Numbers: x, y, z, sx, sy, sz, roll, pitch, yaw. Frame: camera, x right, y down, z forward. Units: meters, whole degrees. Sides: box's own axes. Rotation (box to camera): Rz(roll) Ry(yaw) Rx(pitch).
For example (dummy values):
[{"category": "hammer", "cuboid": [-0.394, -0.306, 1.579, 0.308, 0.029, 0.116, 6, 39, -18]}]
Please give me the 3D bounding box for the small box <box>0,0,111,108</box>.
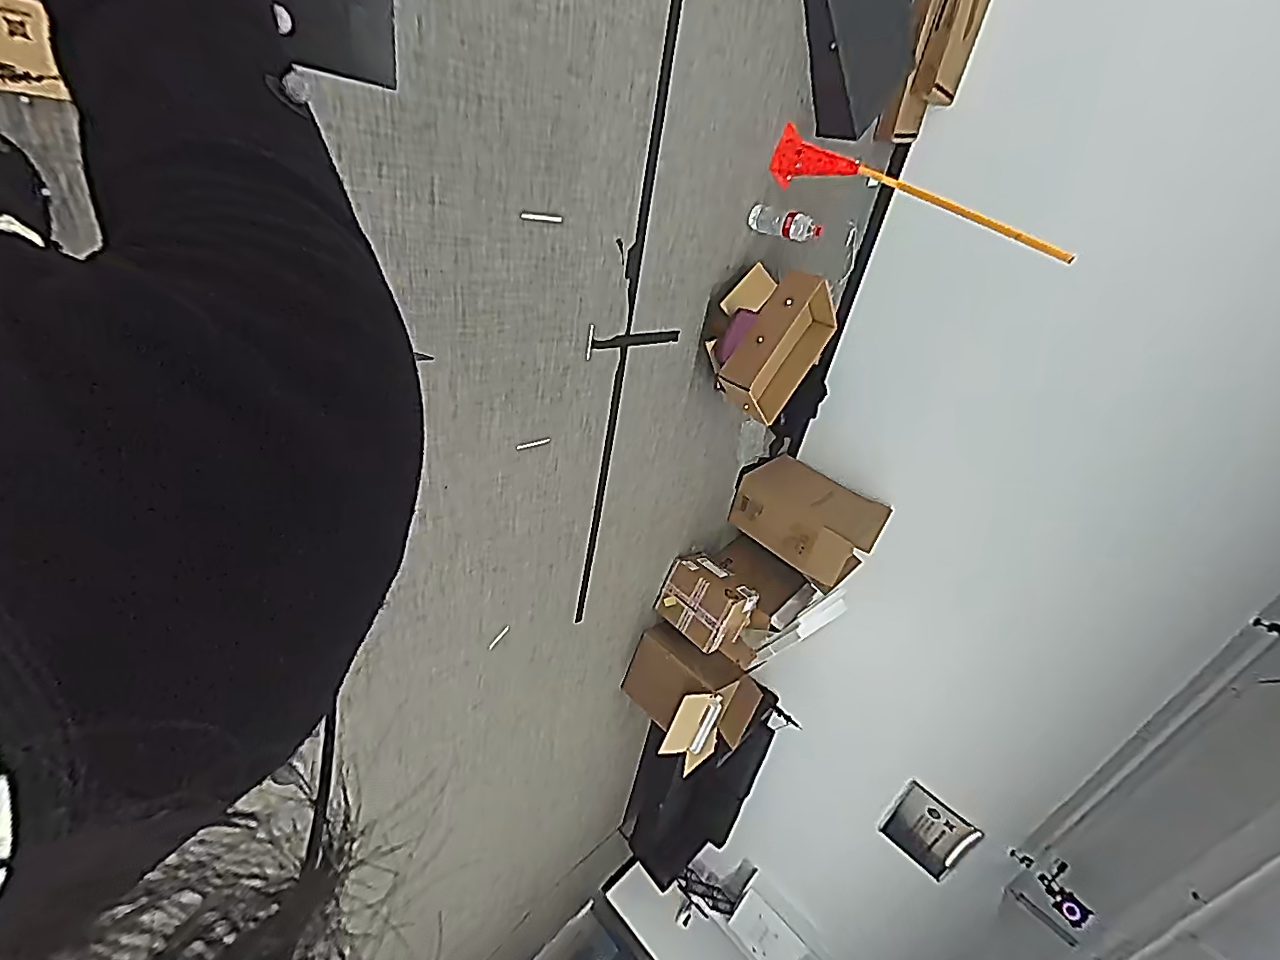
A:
[{"category": "small box", "cuboid": [-0.927, -0.673, 0.795, 0.168, 0.176, 0.179, -20, 132, -42]}]
